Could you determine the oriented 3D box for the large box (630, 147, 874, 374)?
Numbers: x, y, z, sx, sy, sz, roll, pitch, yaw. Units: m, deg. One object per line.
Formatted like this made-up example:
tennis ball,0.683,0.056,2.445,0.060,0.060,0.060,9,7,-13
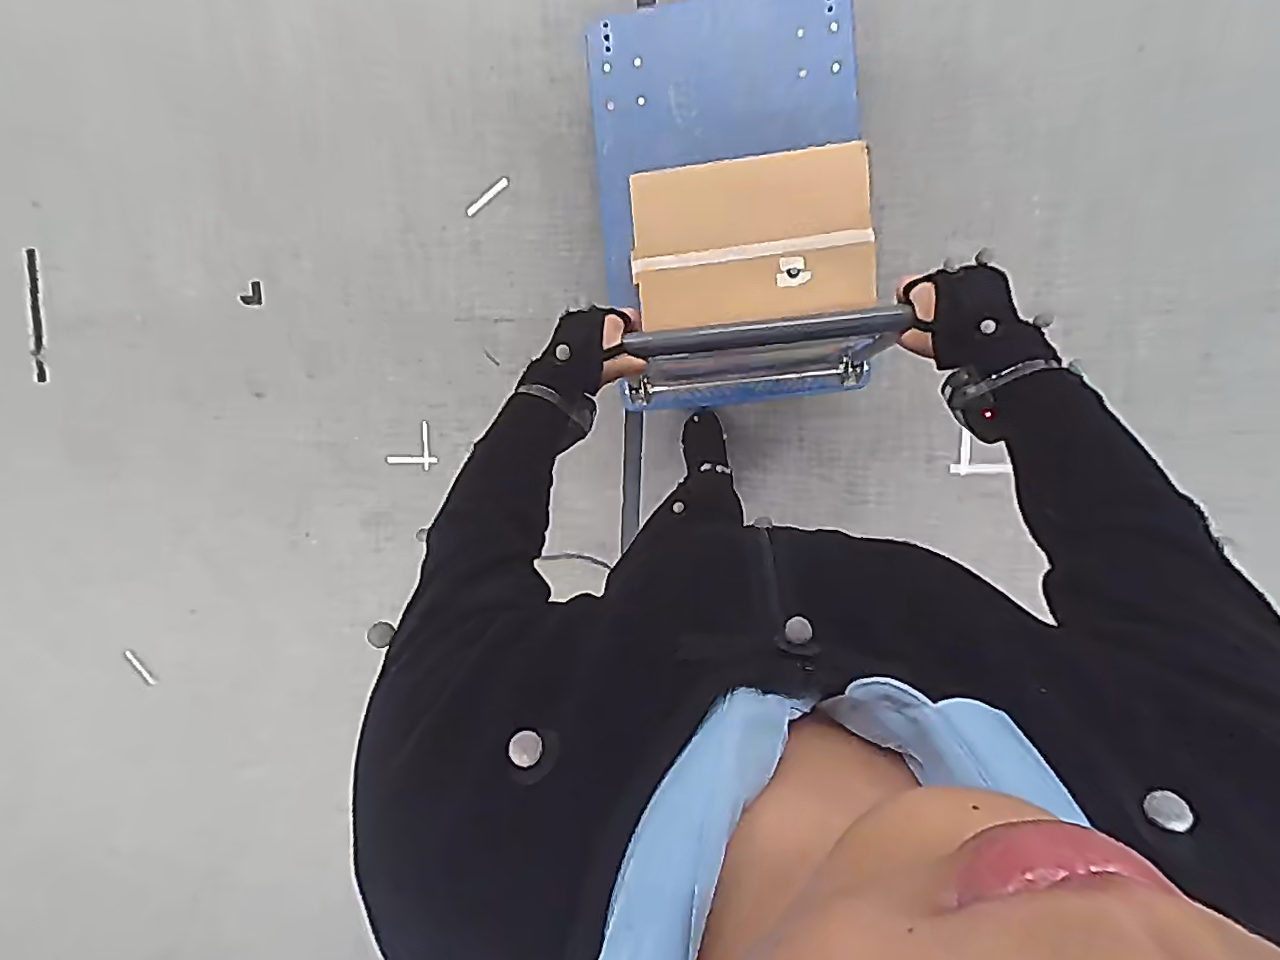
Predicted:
large box,0.207,-0.404,1.087,0.408,0.320,0.320,-5,96,6
